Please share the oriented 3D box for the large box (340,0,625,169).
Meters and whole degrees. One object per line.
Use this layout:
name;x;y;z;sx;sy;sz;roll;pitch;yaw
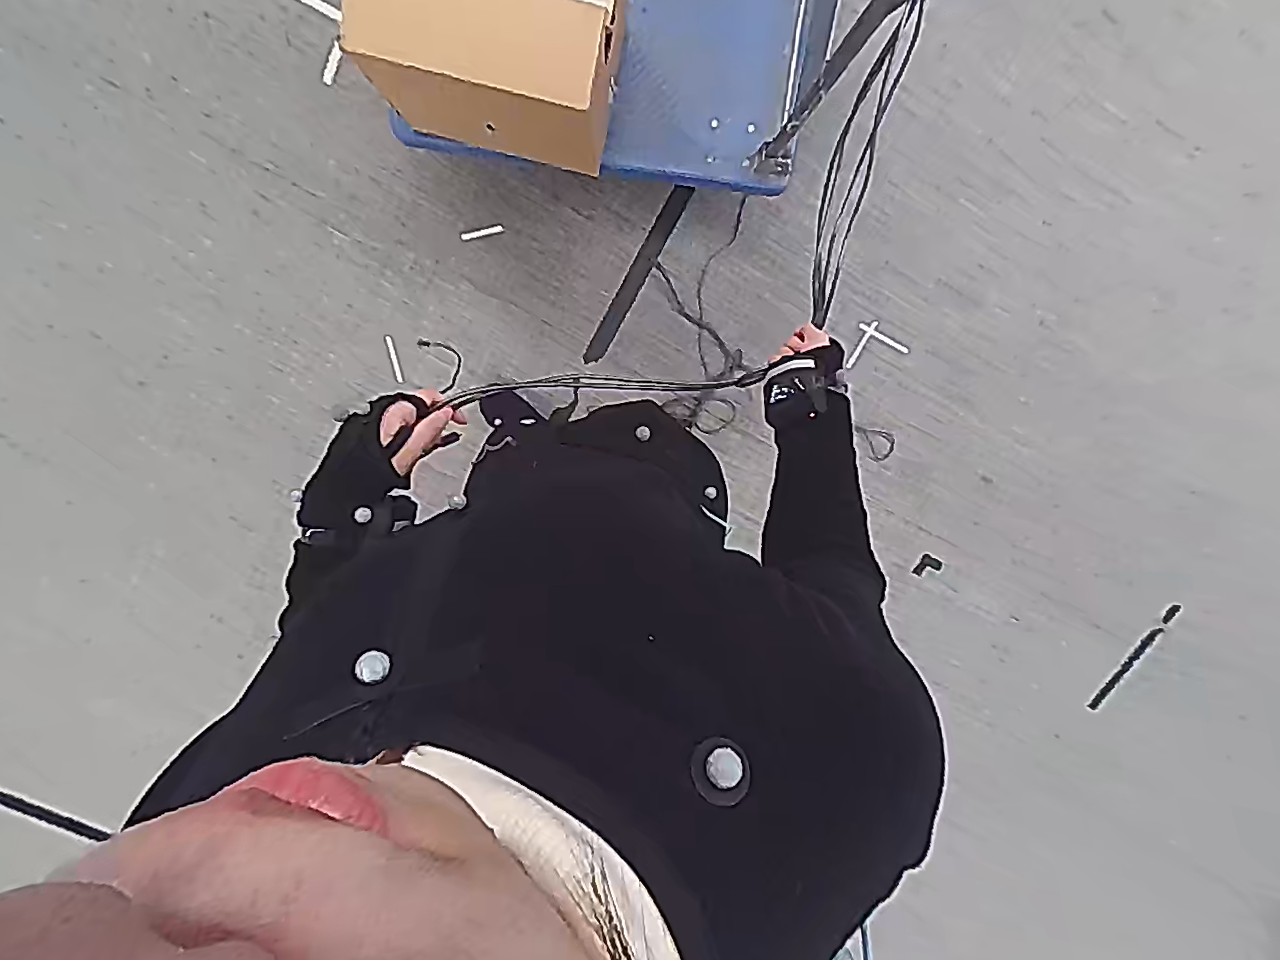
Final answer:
large box;-0.249;-0.812;0.974;0.408;0.320;0.320;12;101;-3
